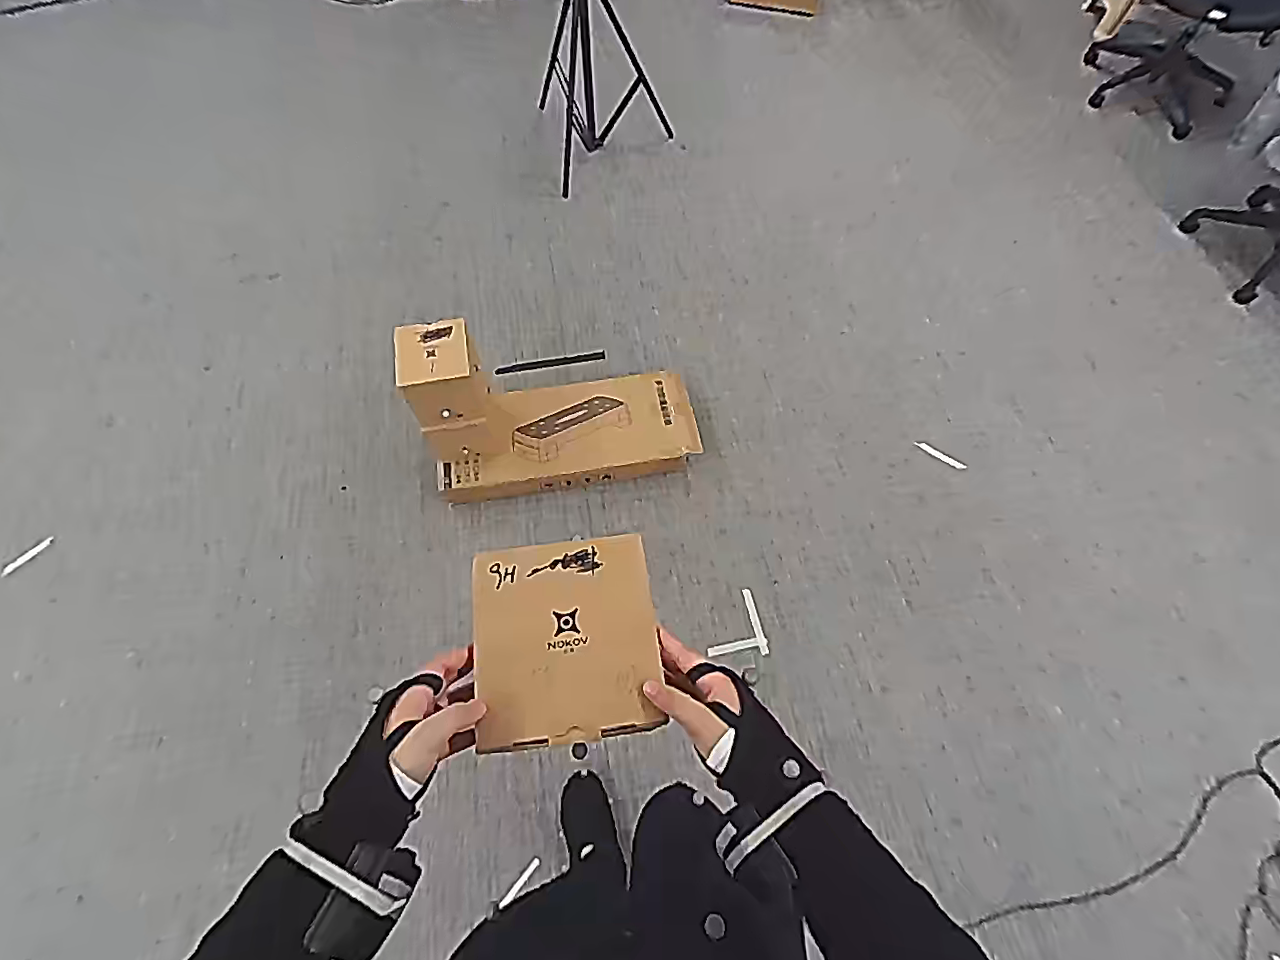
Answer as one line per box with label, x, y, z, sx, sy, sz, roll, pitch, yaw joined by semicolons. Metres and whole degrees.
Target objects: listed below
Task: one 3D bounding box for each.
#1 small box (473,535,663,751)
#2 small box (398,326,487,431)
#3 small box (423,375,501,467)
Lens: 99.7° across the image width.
small box;-0.072;0.173;0.564;0.168;0.176;0.179;-6;64;-6
small box;-0.482;-0.247;1.331;0.168;0.176;0.179;-11;64;-6
small box;-0.480;-0.159;1.470;0.168;0.176;0.179;-9;63;-6
